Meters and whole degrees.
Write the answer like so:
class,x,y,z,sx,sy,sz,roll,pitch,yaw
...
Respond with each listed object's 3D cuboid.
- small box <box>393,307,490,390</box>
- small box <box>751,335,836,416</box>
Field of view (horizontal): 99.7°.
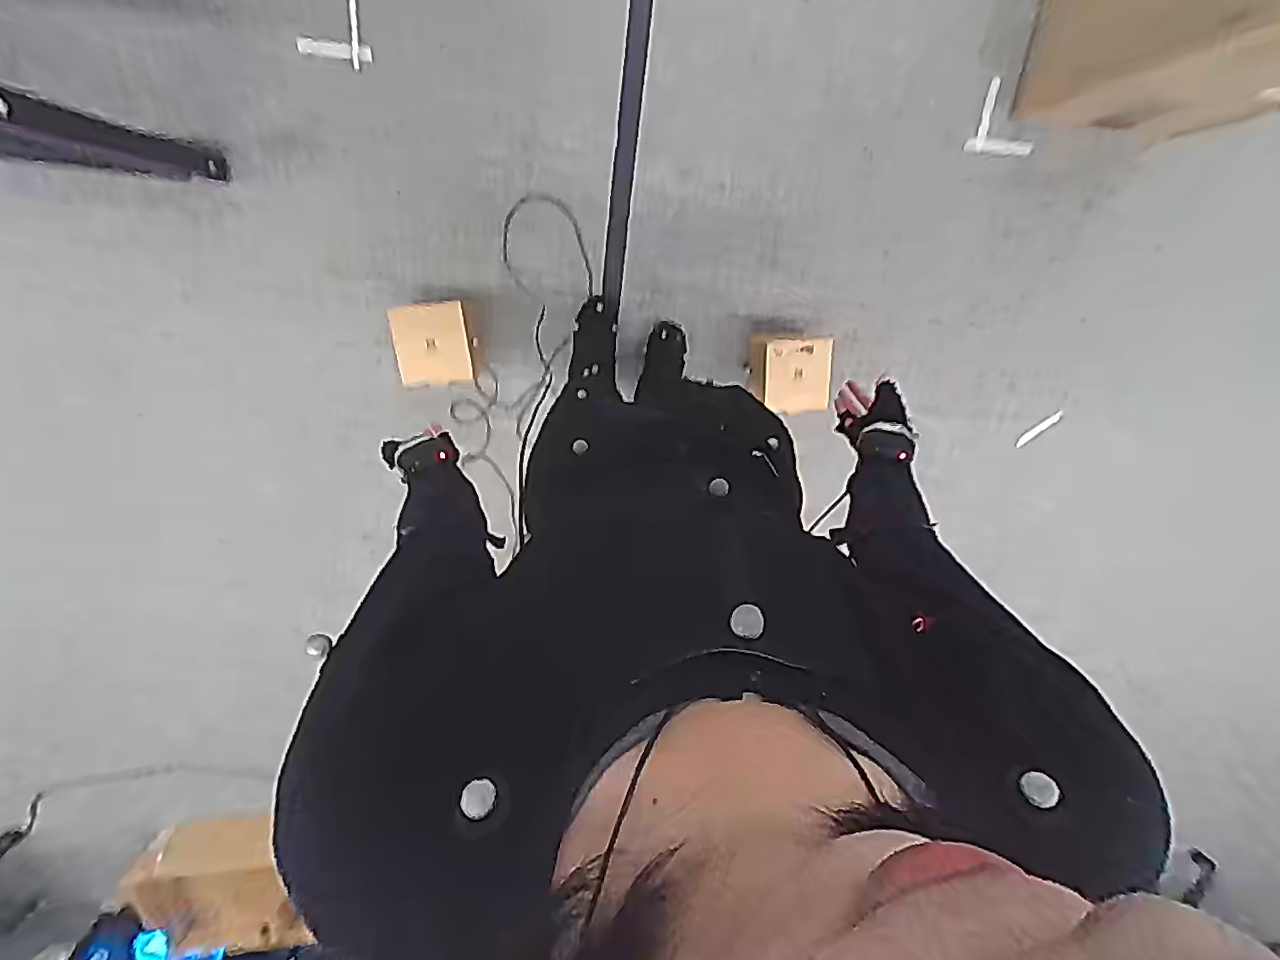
class,x,y,z,sx,sy,sz,roll,pitch,yaw
small box,-0.473,-0.325,1.317,0.168,0.176,0.179,-7,108,-3
small box,0.390,-0.276,1.404,0.168,0.176,0.179,-4,111,-3
